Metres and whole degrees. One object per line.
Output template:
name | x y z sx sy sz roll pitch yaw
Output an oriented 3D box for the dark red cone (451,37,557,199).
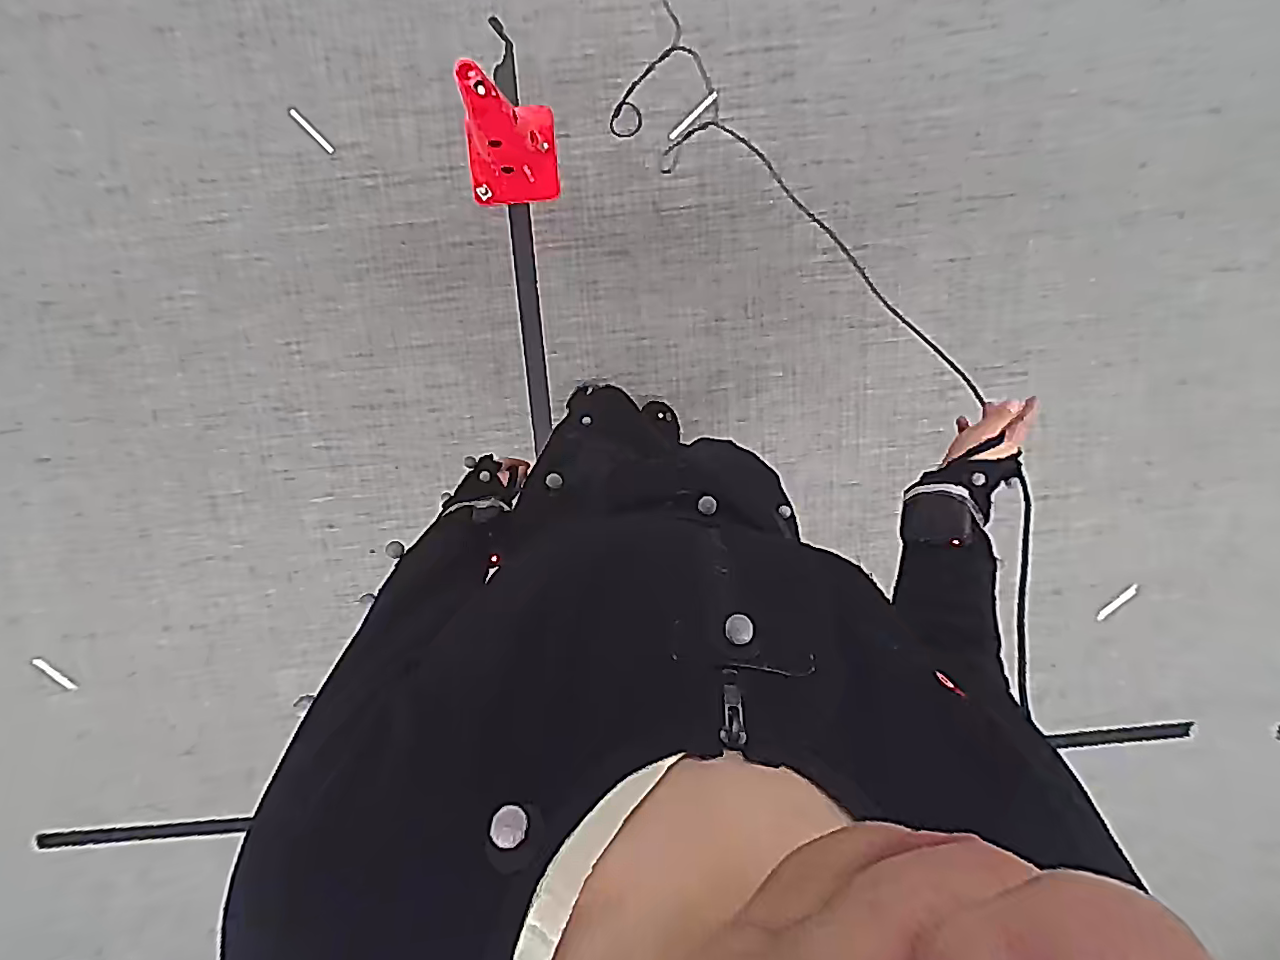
dark red cone | -0.284 -0.699 1.031 0.201 0.394 0.202 -6 101 -1
